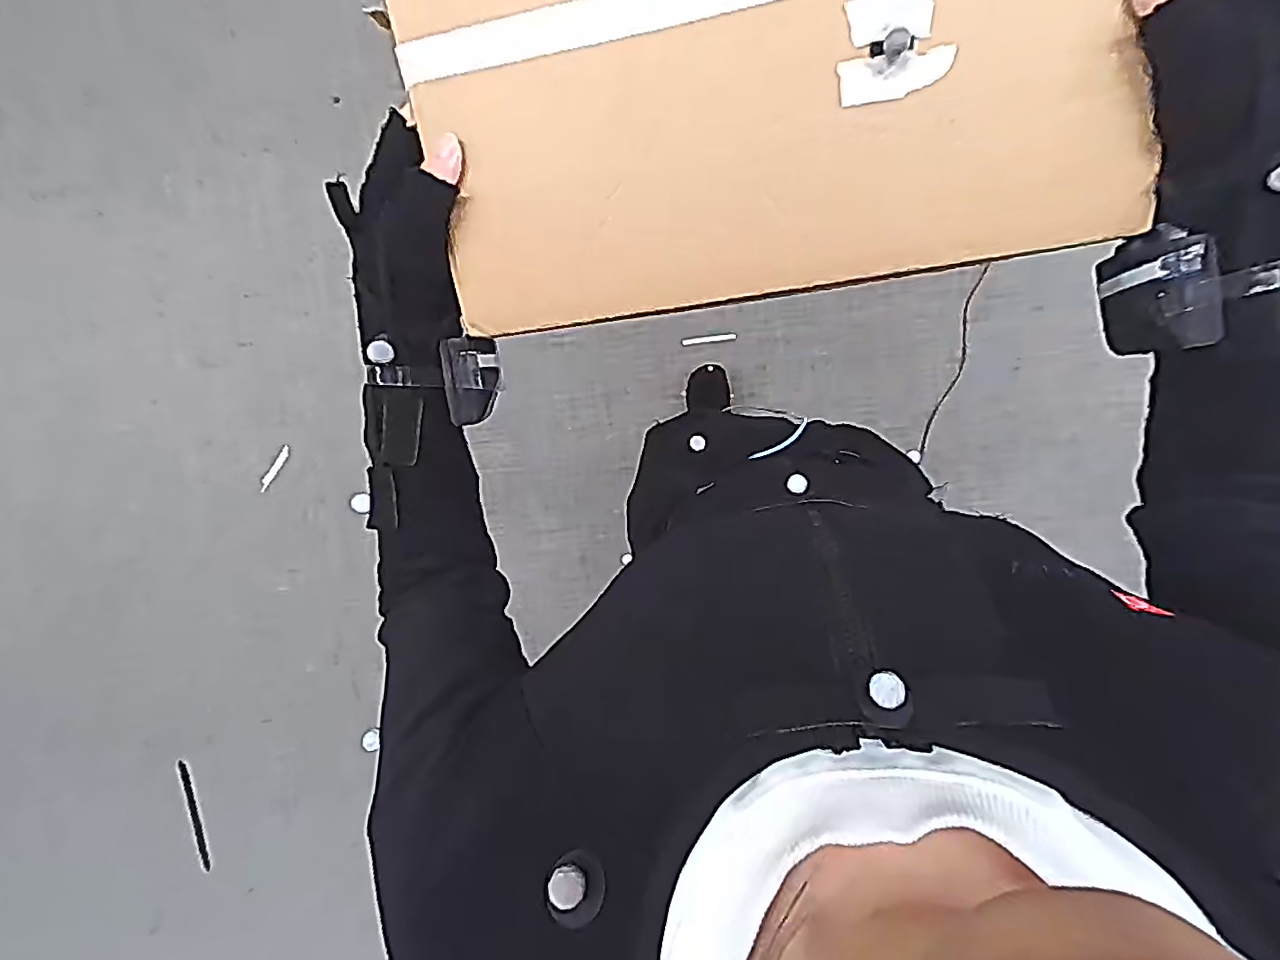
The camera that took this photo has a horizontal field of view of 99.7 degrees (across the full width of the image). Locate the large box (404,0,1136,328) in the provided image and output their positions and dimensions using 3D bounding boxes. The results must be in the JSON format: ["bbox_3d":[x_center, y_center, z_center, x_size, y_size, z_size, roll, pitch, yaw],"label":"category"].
[{"bbox_3d":[0.073,-0.318,0.443,0.408,0.320,0.320,-7,107,8],"label":"large box"}]
